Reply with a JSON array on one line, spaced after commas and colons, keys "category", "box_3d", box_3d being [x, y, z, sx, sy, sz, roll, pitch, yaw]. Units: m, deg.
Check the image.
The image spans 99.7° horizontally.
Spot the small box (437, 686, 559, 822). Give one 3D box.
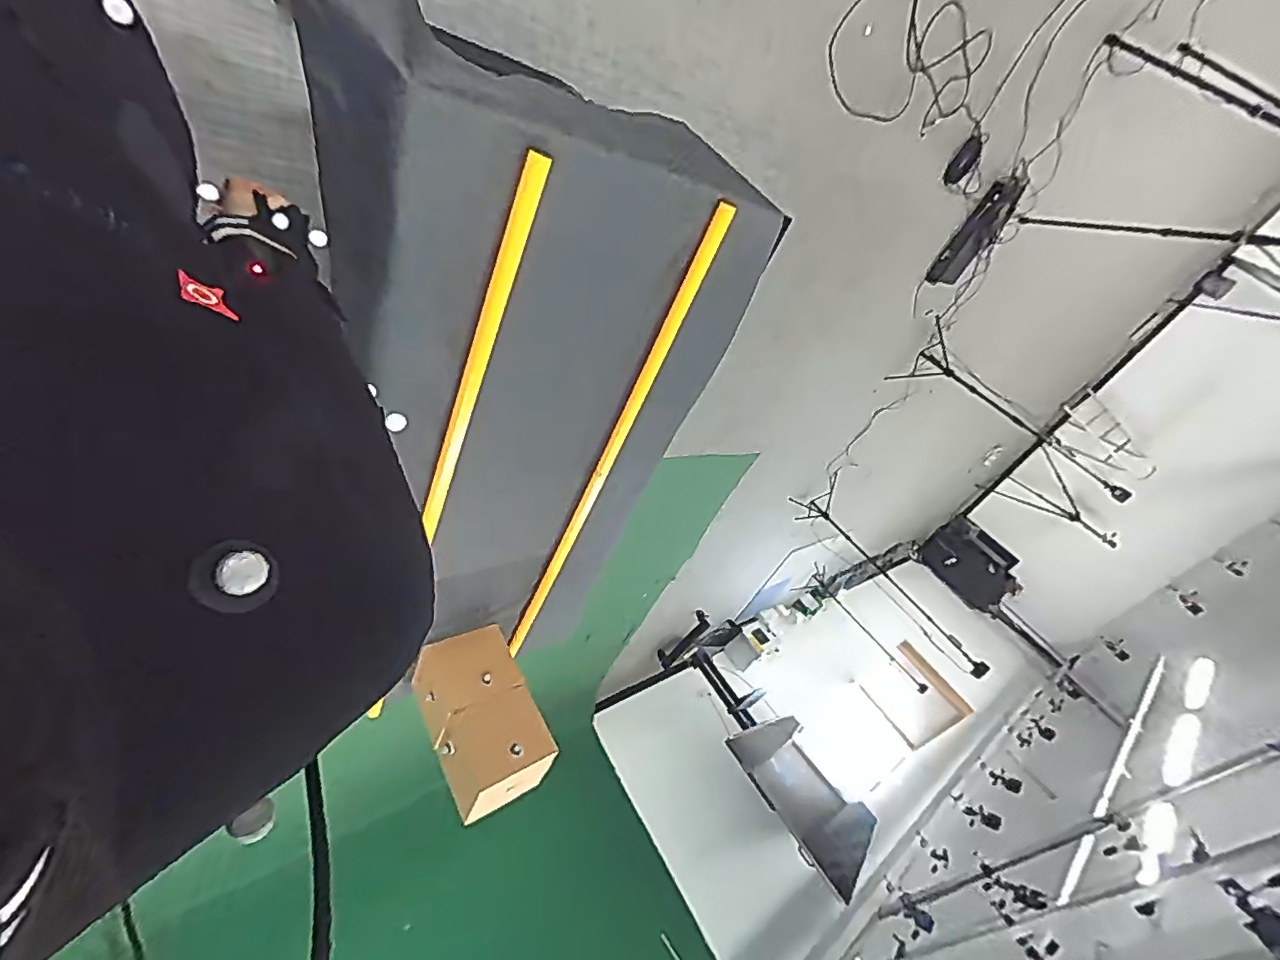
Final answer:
[{"category": "small box", "box_3d": [-0.306, 0.571, 1.147, 0.179, 0.176, 0.168, -9, 137, -40]}]

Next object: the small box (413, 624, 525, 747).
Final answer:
[{"category": "small box", "box_3d": [-0.394, 0.458, 1.224, 0.179, 0.176, 0.168, -8, 138, -42]}]
